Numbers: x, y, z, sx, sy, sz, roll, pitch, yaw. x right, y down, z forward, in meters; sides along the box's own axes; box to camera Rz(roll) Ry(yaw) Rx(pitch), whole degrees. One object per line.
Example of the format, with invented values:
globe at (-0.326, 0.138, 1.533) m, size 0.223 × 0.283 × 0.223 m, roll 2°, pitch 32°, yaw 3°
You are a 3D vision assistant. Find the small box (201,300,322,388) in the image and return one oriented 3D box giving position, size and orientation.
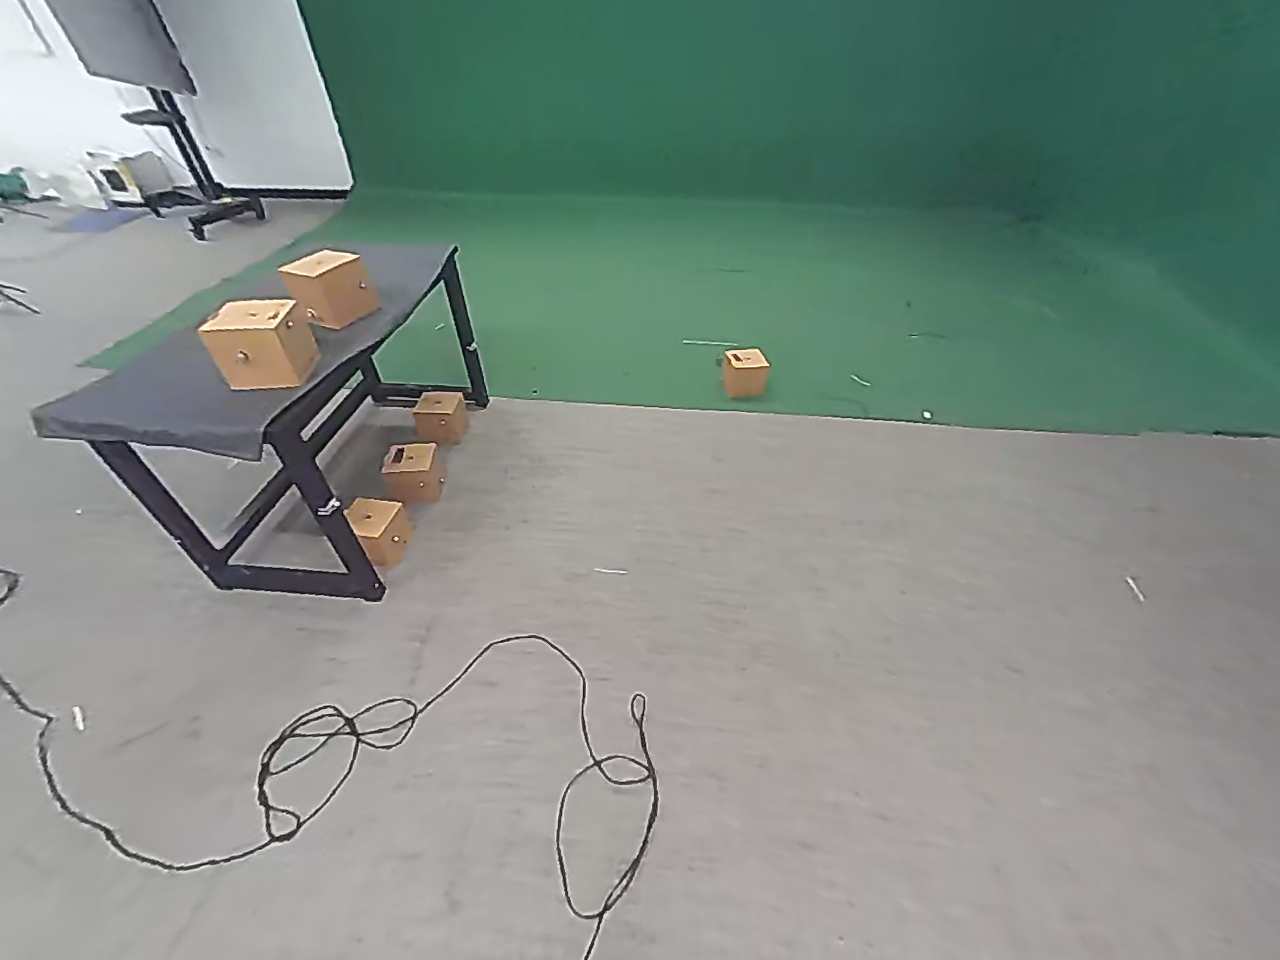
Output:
small box at (-0.970, -0.351, 1.404) m, size 0.179 × 0.176 × 0.168 m, roll -4°, pitch 43°, yaw -5°

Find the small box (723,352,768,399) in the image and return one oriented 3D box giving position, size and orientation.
small box at (0.512, -0.509, 2.653) m, size 0.179 × 0.176 × 0.168 m, roll -6°, pitch 43°, yaw -8°

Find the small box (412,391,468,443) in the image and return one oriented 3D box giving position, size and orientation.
small box at (-0.878, -0.277, 2.396) m, size 0.179 × 0.176 × 0.168 m, roll 1°, pitch 42°, yaw 1°

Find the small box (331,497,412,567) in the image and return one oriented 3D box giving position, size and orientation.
small box at (-0.933, 0.186, 1.901) m, size 0.179 × 0.176 × 0.168 m, roll 7°, pitch 43°, yaw 8°

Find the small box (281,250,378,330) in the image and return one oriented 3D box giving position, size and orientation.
small box at (-0.938, -0.585, 1.659) m, size 0.168 × 0.176 × 0.179 m, roll 16°, pitch 46°, yaw 21°
